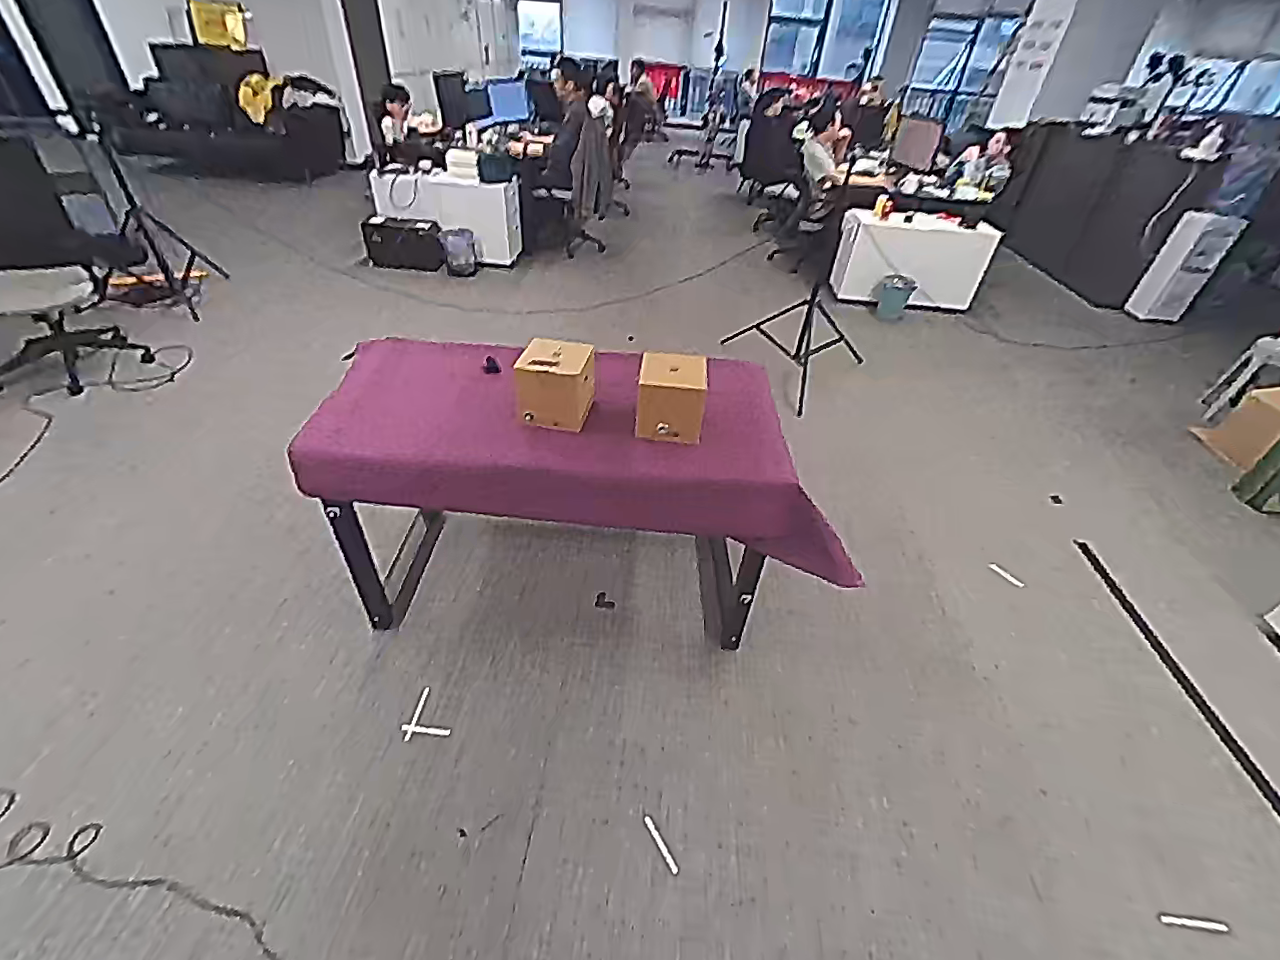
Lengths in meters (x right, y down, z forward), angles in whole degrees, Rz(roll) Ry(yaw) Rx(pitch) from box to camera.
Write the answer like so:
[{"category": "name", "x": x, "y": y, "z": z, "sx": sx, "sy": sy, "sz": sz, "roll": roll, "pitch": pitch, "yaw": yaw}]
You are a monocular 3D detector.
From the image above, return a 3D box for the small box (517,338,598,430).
[{"category": "small box", "x": -0.209, "y": -0.251, "z": 1.420, "sx": 0.168, "sy": 0.176, "sz": 0.179, "roll": 9, "pitch": 38, "yaw": 5}]

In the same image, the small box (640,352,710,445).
[{"category": "small box", "x": 0.091, "y": -0.214, "z": 1.410, "sx": 0.168, "sy": 0.176, "sz": 0.179, "roll": 5, "pitch": 40, "yaw": 2}]
